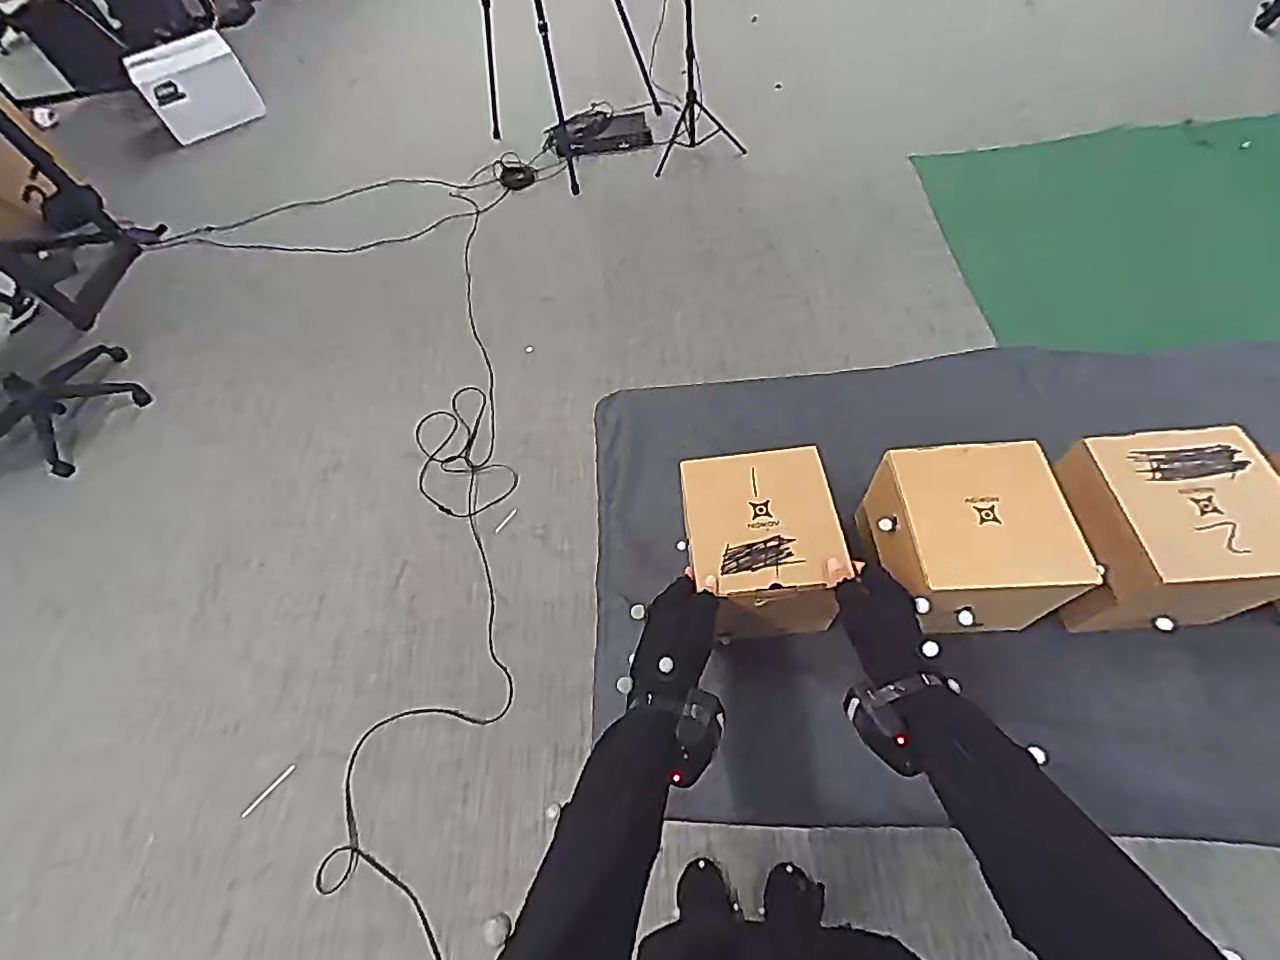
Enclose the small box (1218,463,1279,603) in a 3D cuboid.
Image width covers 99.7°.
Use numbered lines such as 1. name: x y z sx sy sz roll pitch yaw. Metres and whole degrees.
1. small box: 0.828 0.050 0.600 0.168 0.176 0.179 -5 57 6
